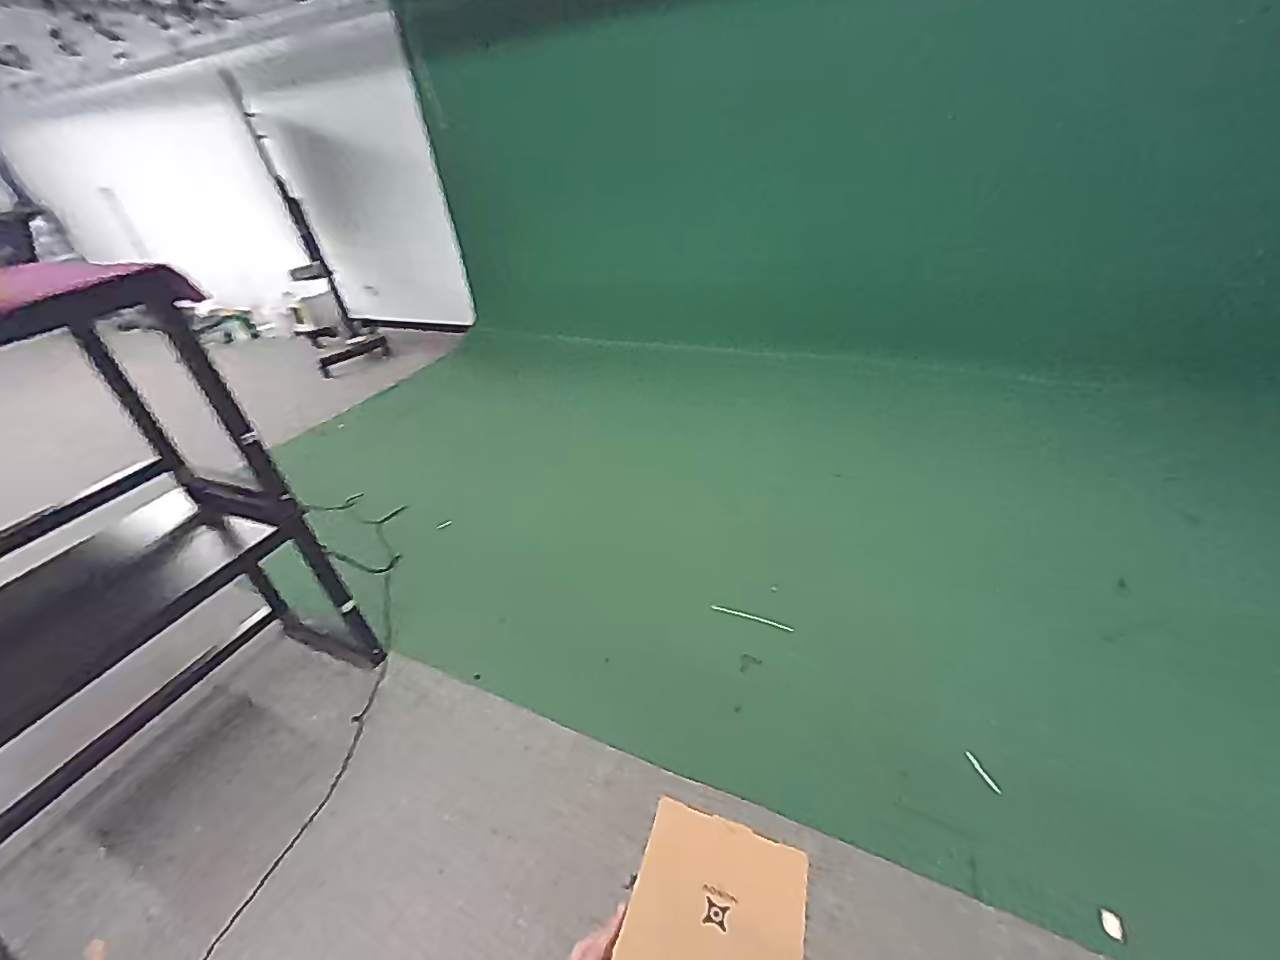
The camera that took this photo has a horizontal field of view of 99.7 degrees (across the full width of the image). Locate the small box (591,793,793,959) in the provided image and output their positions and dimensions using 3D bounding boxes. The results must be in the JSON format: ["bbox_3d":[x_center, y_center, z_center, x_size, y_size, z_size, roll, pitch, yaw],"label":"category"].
[{"bbox_3d":[0.050,0.477,0.553,0.168,0.176,0.179,15,28,13],"label":"small box"}]
